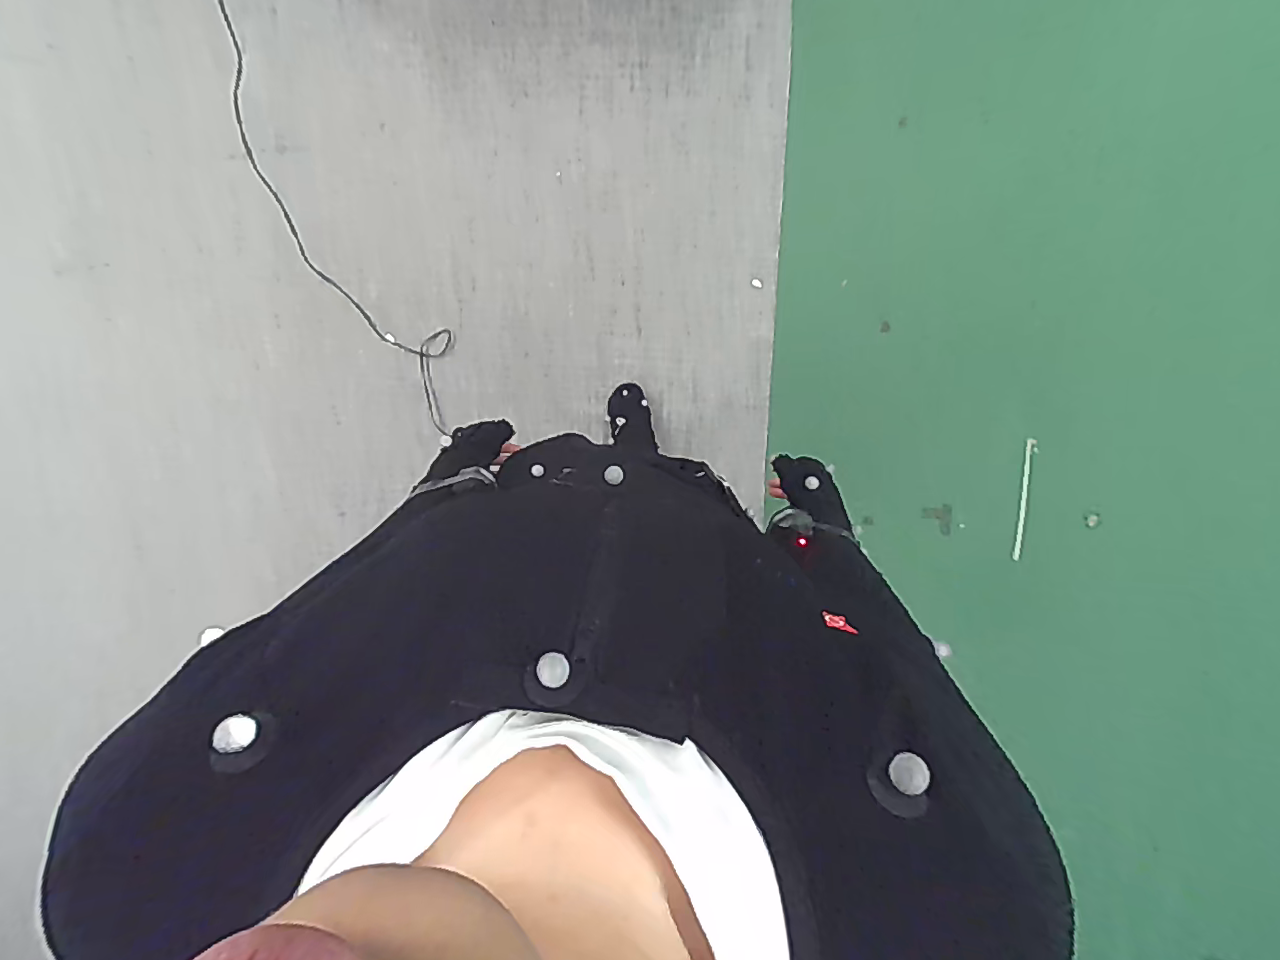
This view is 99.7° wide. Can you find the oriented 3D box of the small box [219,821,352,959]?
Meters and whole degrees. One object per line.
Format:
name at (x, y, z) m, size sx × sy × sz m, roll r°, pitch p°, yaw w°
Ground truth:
small box at (-0.761, 0.883, 1.177) m, size 0.179 × 0.176 × 0.168 m, roll 10°, pitch 94°, yaw 2°
